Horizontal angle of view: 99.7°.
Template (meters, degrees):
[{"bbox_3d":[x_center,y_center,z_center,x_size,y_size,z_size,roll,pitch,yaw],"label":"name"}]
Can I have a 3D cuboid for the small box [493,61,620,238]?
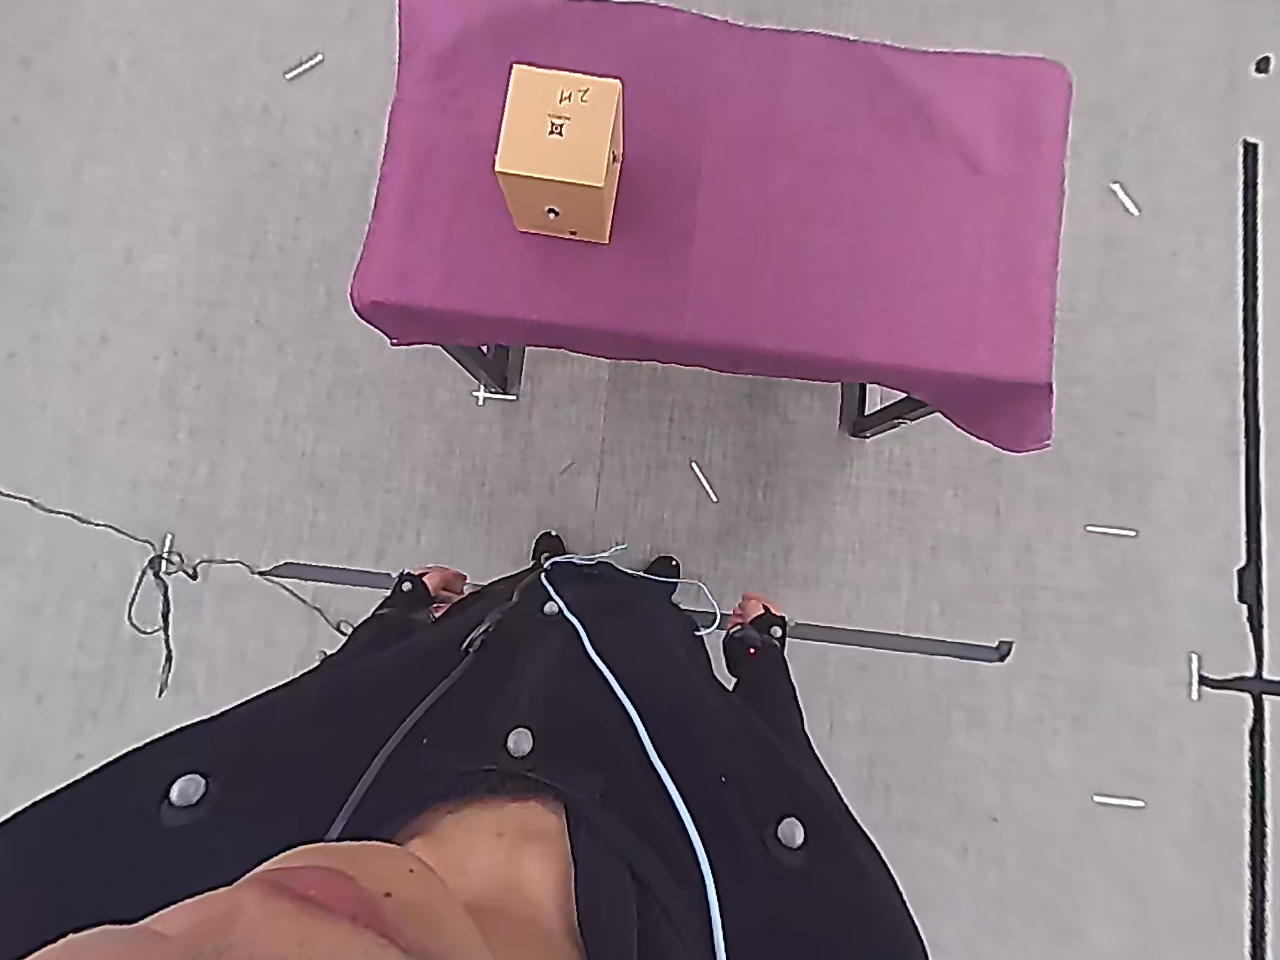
[{"bbox_3d":[-0.126,-0.526,0.885,0.168,0.176,0.179,9,85,-1],"label":"small box"}]
